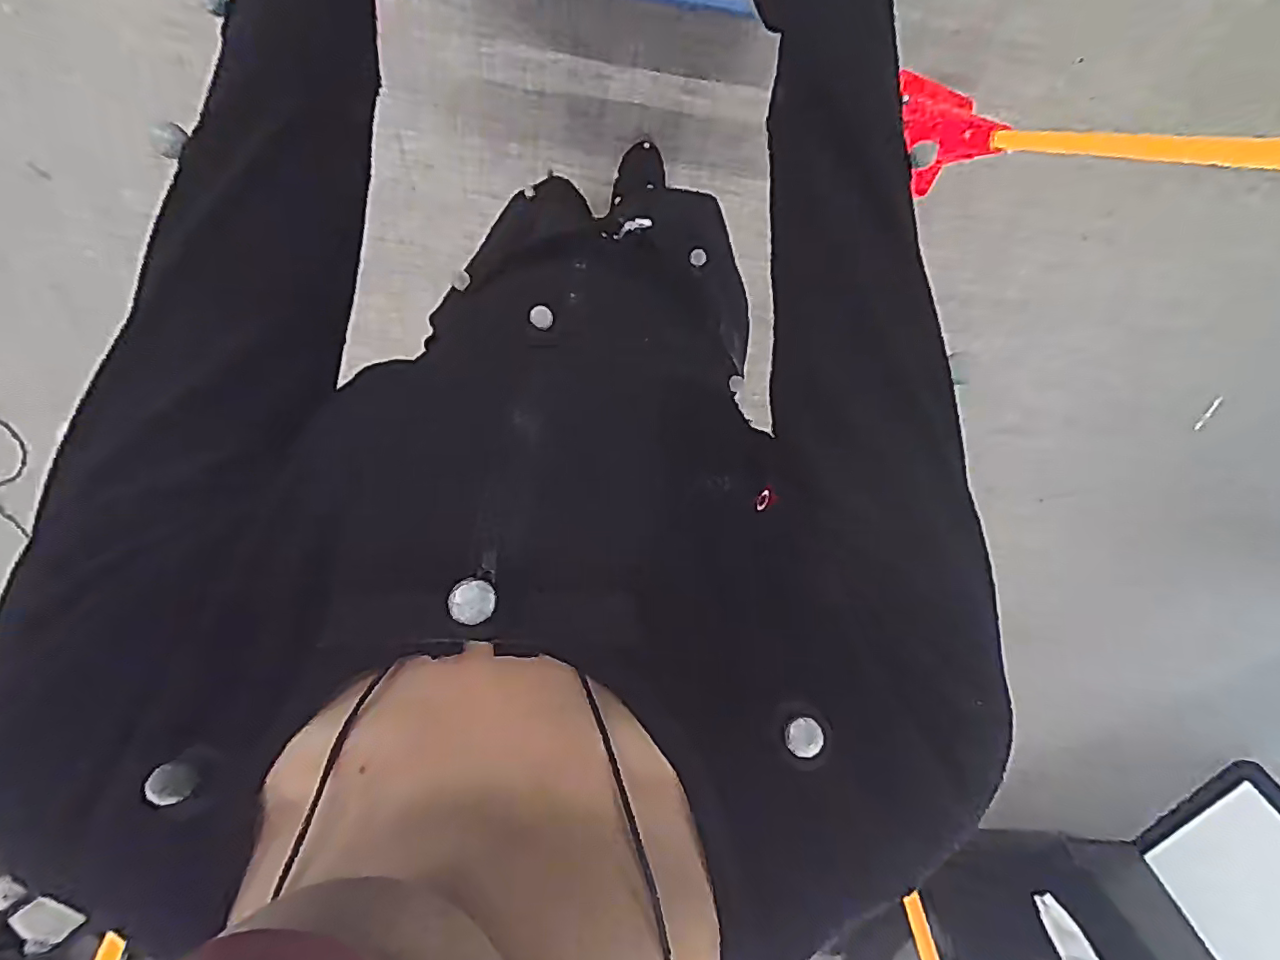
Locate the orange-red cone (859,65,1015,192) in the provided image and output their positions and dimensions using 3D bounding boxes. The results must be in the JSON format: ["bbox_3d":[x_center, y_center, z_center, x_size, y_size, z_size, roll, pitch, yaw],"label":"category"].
[{"bbox_3d":[0.607,-0.671,1.045,0.198,0.360,0.199,17,122,-10],"label":"orange-red cone"}]
